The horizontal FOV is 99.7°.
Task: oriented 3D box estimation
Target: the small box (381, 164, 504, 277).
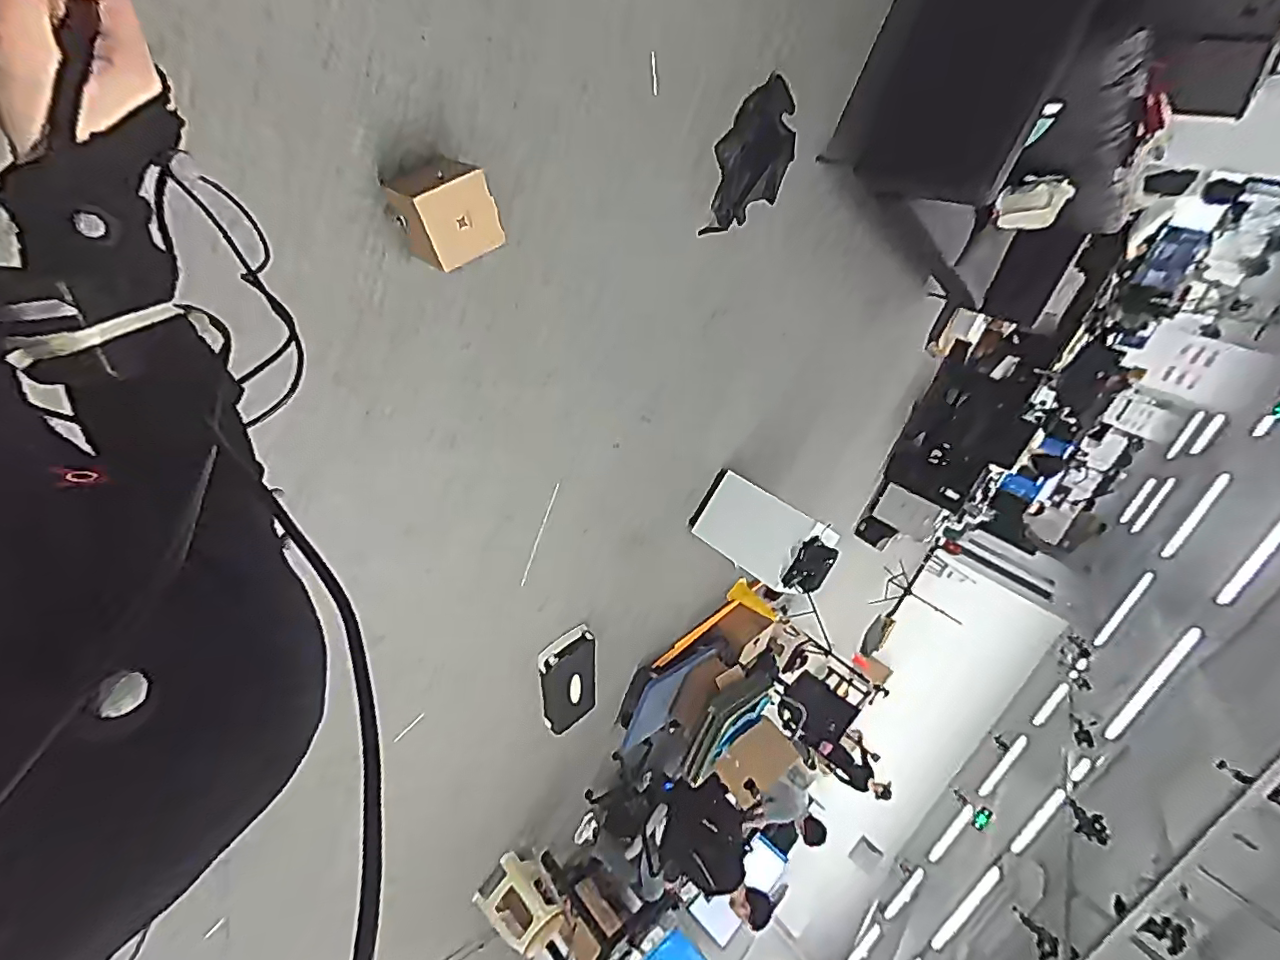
[{"bbox_3d":[-0.448,-0.597,1.232,0.179,0.176,0.168,-39,142,-22],"label":"small box"}]
